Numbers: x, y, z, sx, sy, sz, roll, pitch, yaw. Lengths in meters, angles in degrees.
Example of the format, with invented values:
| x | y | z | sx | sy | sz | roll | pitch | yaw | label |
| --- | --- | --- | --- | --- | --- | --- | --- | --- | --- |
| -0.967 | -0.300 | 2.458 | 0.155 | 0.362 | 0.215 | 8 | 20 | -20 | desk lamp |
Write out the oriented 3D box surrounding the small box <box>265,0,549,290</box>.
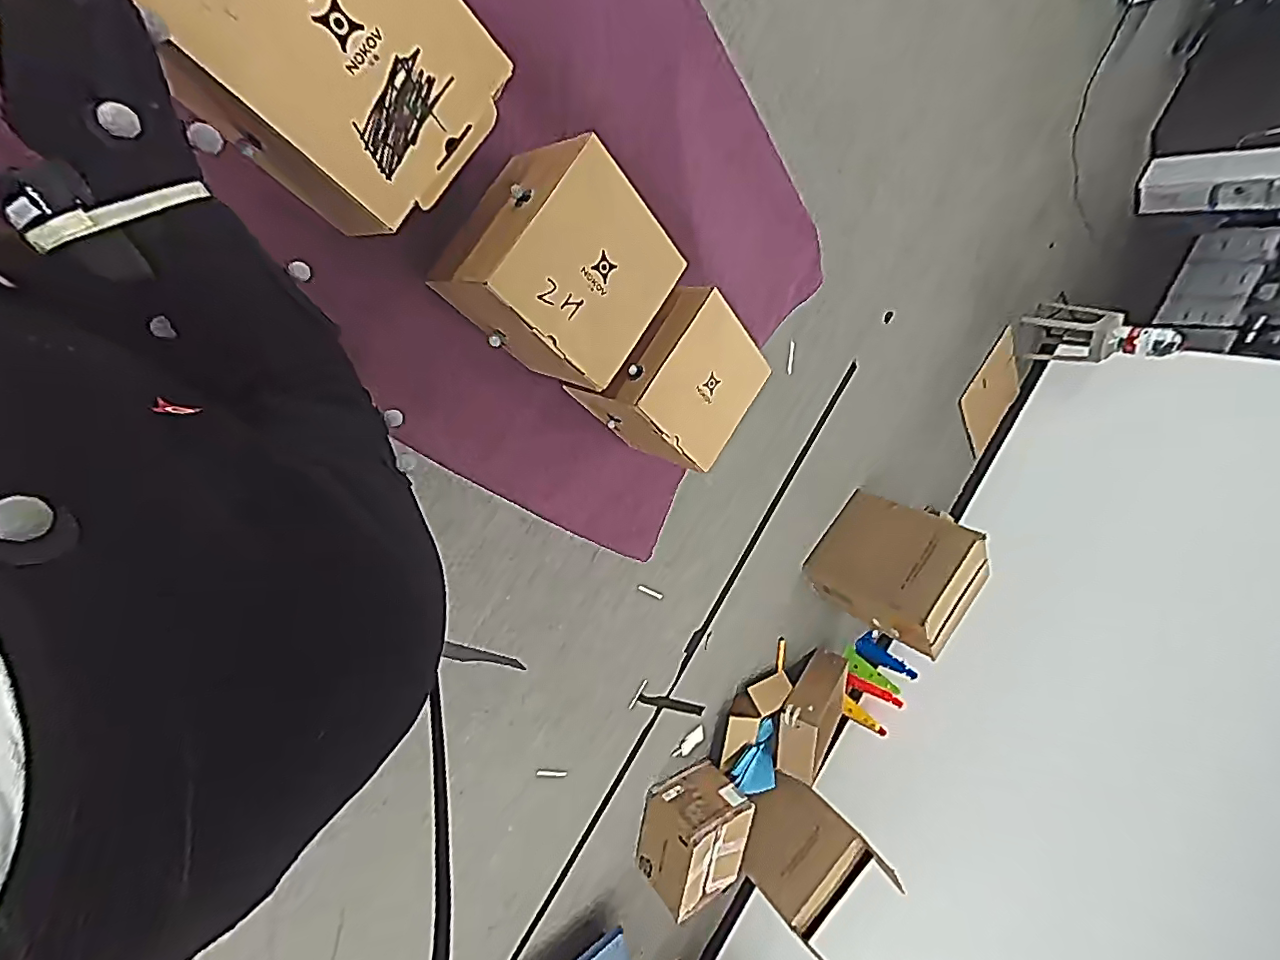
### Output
| x | y | z | sx | sy | sz | roll | pitch | yaw | label |
| --- | --- | --- | --- | --- | --- | --- | --- | --- | --- |
| -0.197 | -0.296 | 0.452 | 0.179 | 0.176 | 0.168 | 11 | 141 | -38 | small box |

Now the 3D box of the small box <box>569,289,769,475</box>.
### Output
| x | y | z | sx | sy | sz | roll | pitch | yaw | label |
| --- | --- | --- | --- | --- | --- | --- | --- | --- | --- |
| 0.036 | -0.139 | 0.731 | 0.168 | 0.176 | 0.179 | 39 | 81 | -42 | small box |
